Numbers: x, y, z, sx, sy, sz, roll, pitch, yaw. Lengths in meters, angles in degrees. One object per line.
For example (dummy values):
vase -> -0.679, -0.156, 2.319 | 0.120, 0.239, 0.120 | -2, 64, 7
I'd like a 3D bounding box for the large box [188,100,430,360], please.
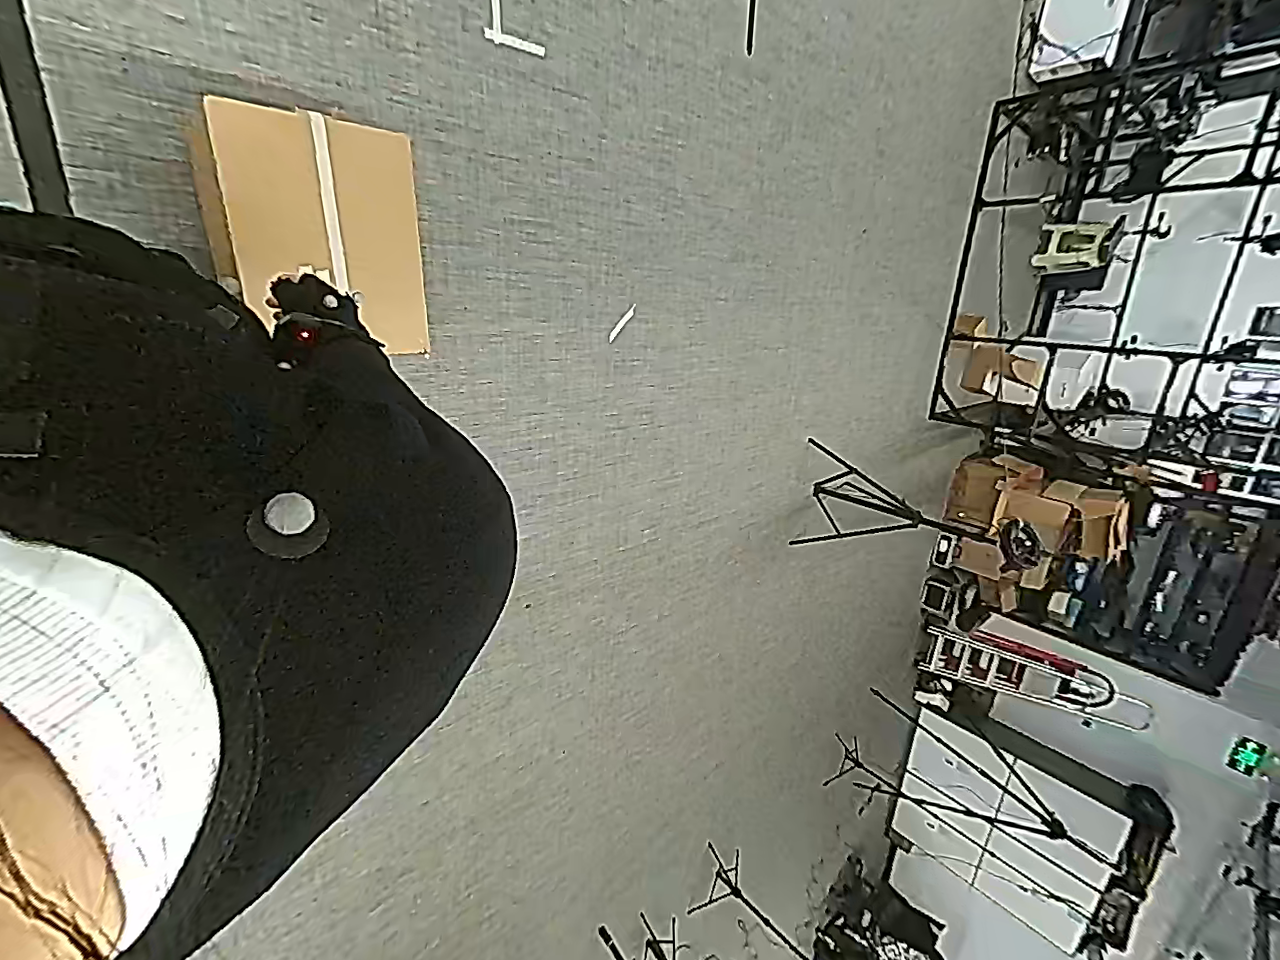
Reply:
large box -> -0.656, -0.472, 1.089 | 0.320, 0.320, 0.408 | -15, 116, -39
